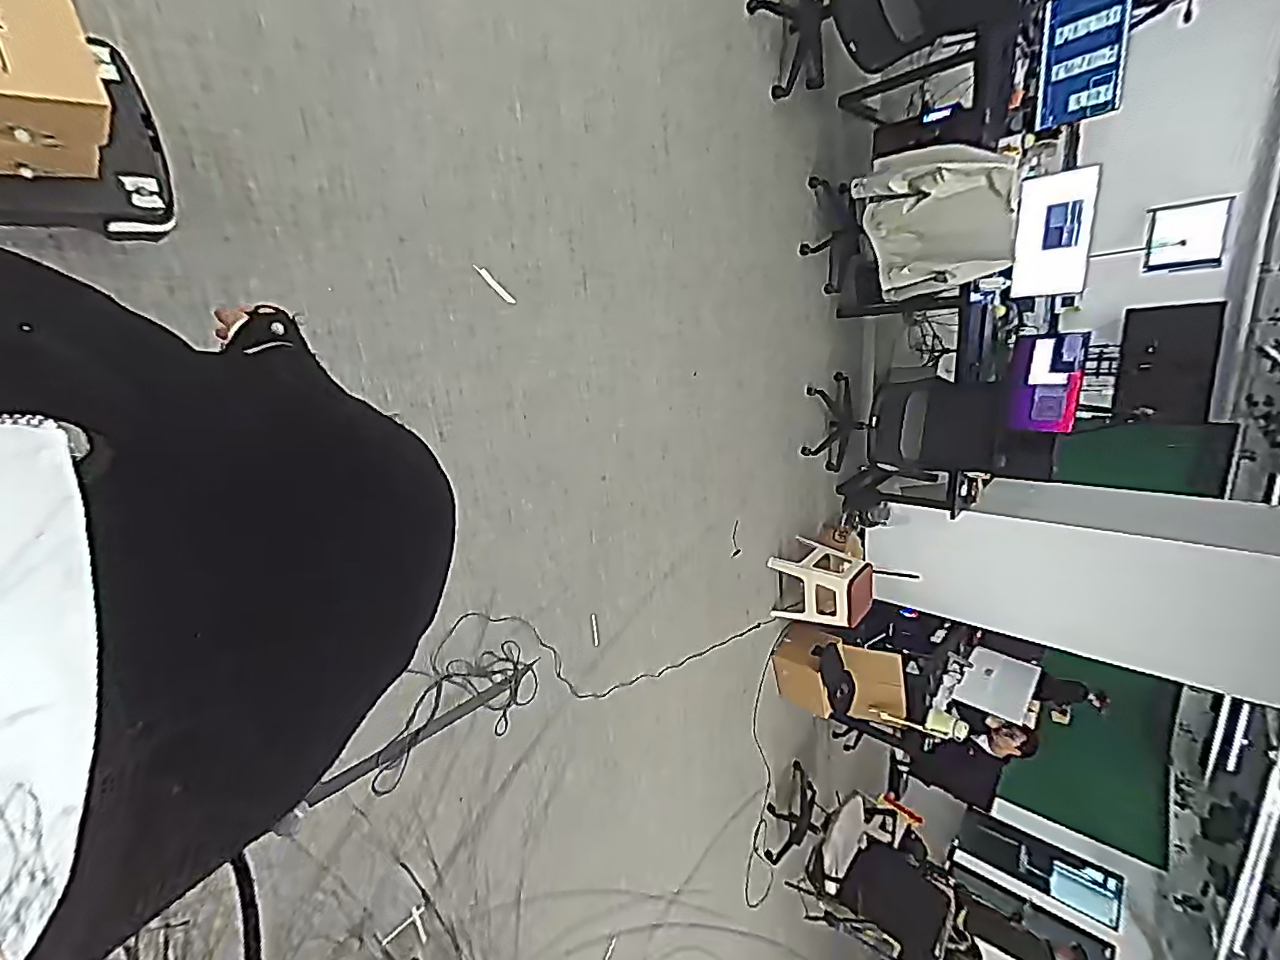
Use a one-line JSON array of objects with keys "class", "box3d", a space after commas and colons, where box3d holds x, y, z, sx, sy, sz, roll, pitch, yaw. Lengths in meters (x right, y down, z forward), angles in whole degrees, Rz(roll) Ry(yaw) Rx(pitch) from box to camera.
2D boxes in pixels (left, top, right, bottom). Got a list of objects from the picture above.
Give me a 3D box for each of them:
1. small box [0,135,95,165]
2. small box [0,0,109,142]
[{"class": "small box", "box3d": [-0.924, -0.558, 0.768, 0.168, 0.176, 0.179, -24, 115, -41]}, {"class": "small box", "box3d": [-0.799, -0.544, 0.662, 0.168, 0.176, 0.179, -25, 115, -41]}]
